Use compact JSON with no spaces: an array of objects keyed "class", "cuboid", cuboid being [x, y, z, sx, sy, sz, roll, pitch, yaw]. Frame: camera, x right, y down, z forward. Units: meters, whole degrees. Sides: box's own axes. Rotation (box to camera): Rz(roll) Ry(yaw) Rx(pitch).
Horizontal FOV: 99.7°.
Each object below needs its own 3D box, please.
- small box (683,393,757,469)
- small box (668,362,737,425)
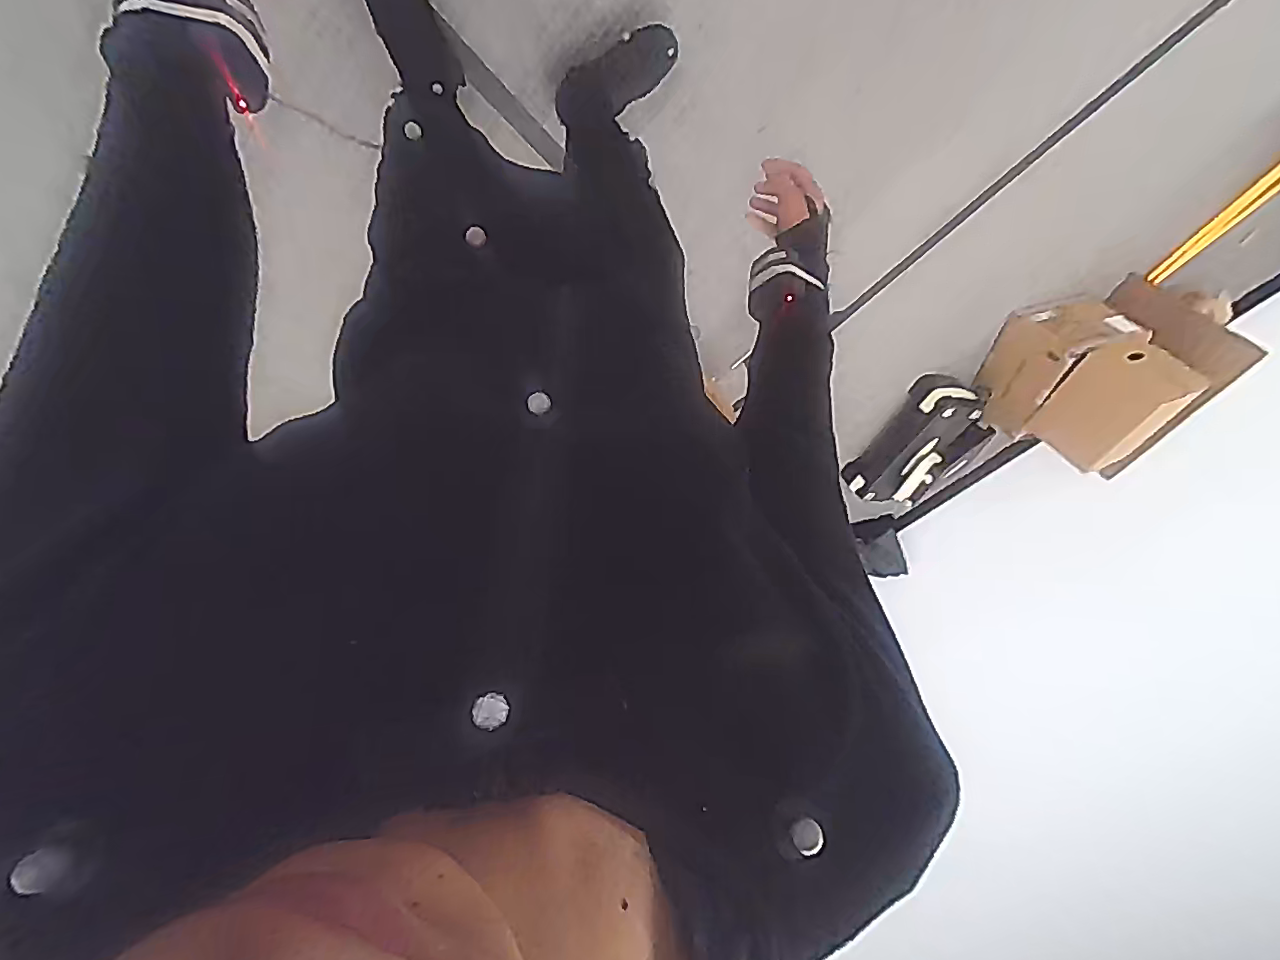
[{"class":"small box","cuboid":[0.279,-0.175,1.902,0.168,0.176,0.179,-37,139,20]},{"class":"small box","cuboid":[0.222,-0.298,1.993,0.179,0.176,0.168,-41,139,23]}]
